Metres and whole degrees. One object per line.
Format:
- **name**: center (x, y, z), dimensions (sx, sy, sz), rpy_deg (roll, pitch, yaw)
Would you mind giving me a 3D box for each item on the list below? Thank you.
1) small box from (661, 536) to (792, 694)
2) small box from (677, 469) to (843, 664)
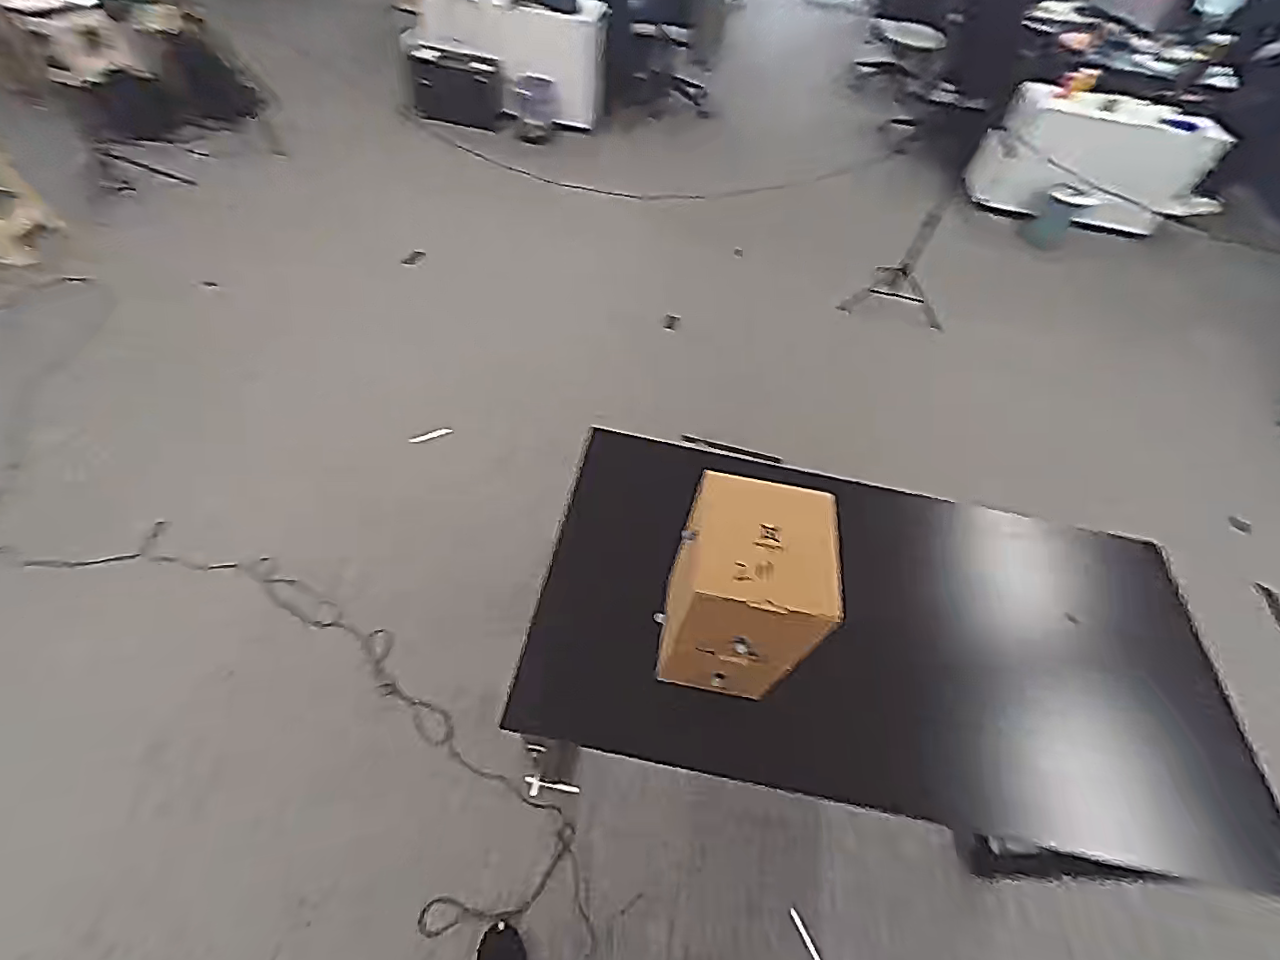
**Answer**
- **small box**: center (0.129, 0.214, 0.834), dimensions (0.168, 0.176, 0.179), rpy_deg (10, 54, 0)
- **small box**: center (0.146, 0.116, 0.702), dimensions (0.168, 0.176, 0.179), rpy_deg (10, 54, 1)
